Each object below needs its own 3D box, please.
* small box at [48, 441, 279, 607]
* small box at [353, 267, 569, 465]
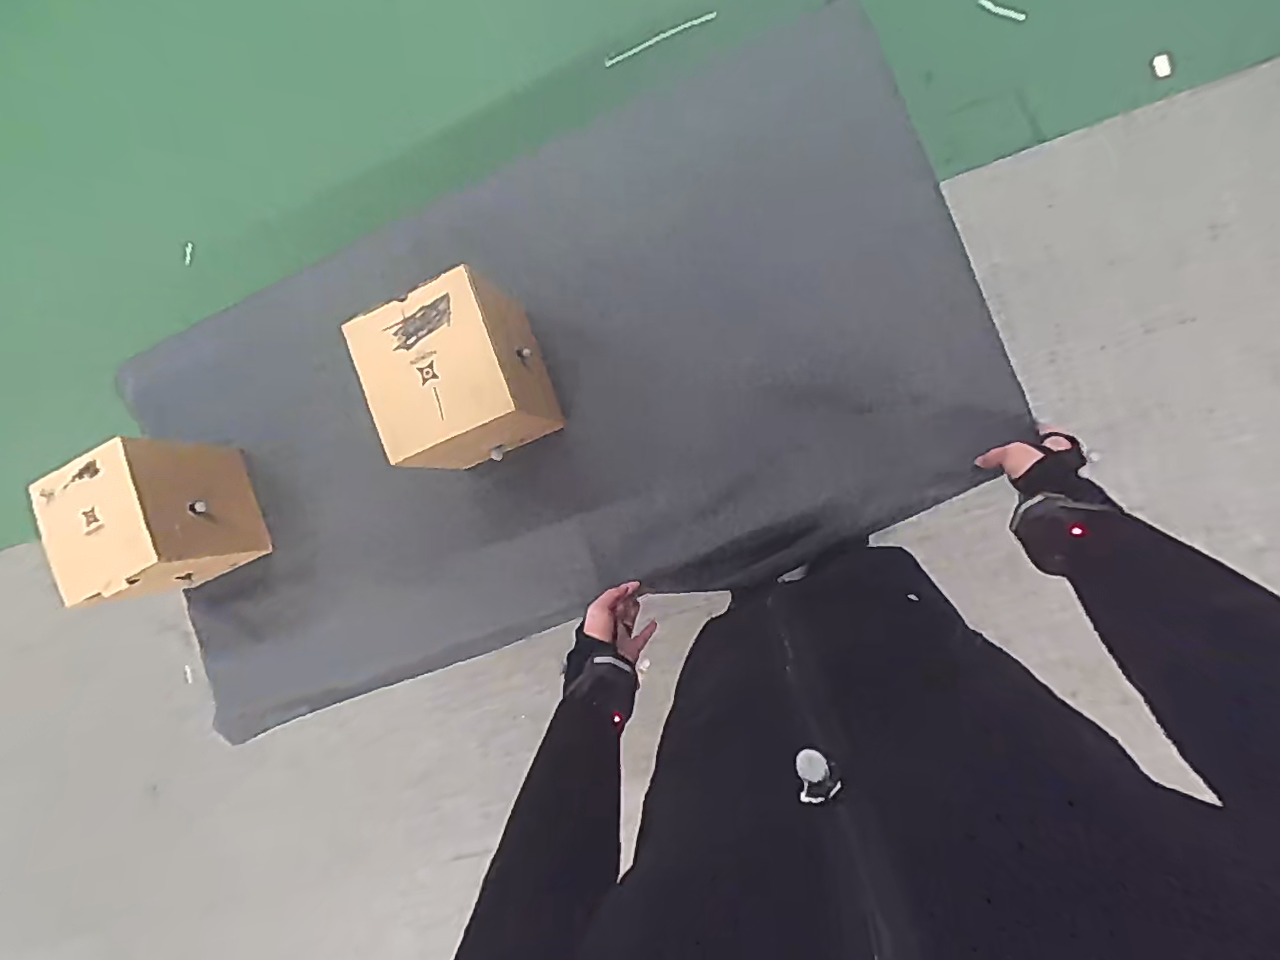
[{"bbox_3d":[-0.667,0.057,0.777,0.168,0.176,0.179,-24,85,11],"label":"small box"},{"bbox_3d":[-0.212,-0.126,0.679,0.168,0.176,0.179,-22,86,12],"label":"small box"}]
